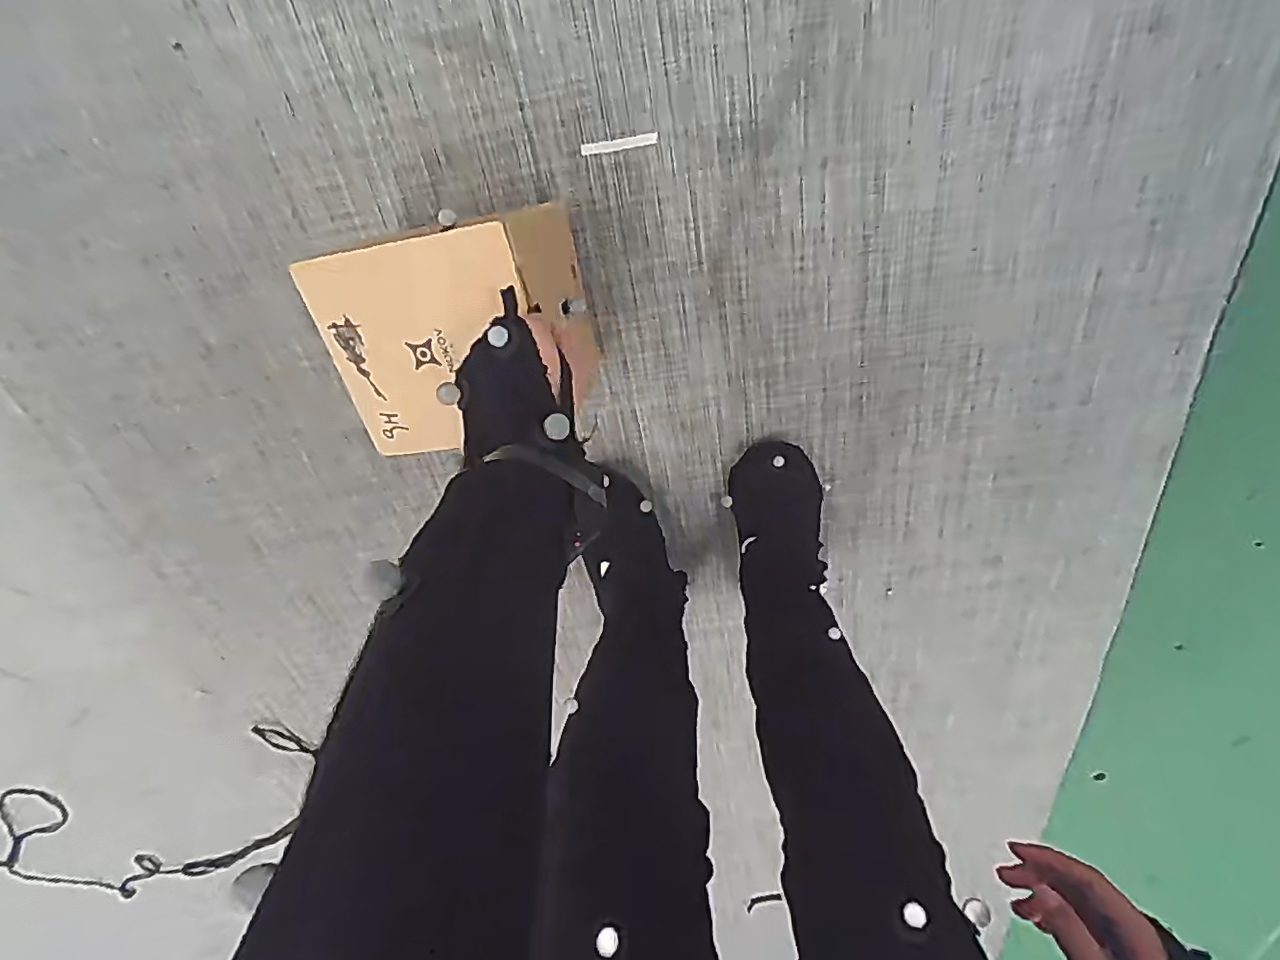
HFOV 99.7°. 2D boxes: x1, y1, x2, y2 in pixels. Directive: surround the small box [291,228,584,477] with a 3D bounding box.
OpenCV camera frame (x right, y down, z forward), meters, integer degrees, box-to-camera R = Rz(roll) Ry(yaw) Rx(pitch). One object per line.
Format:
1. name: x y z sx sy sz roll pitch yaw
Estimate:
1. small box: -0.157 -0.122 0.496 0.179 0.176 0.168 -6 120 11
